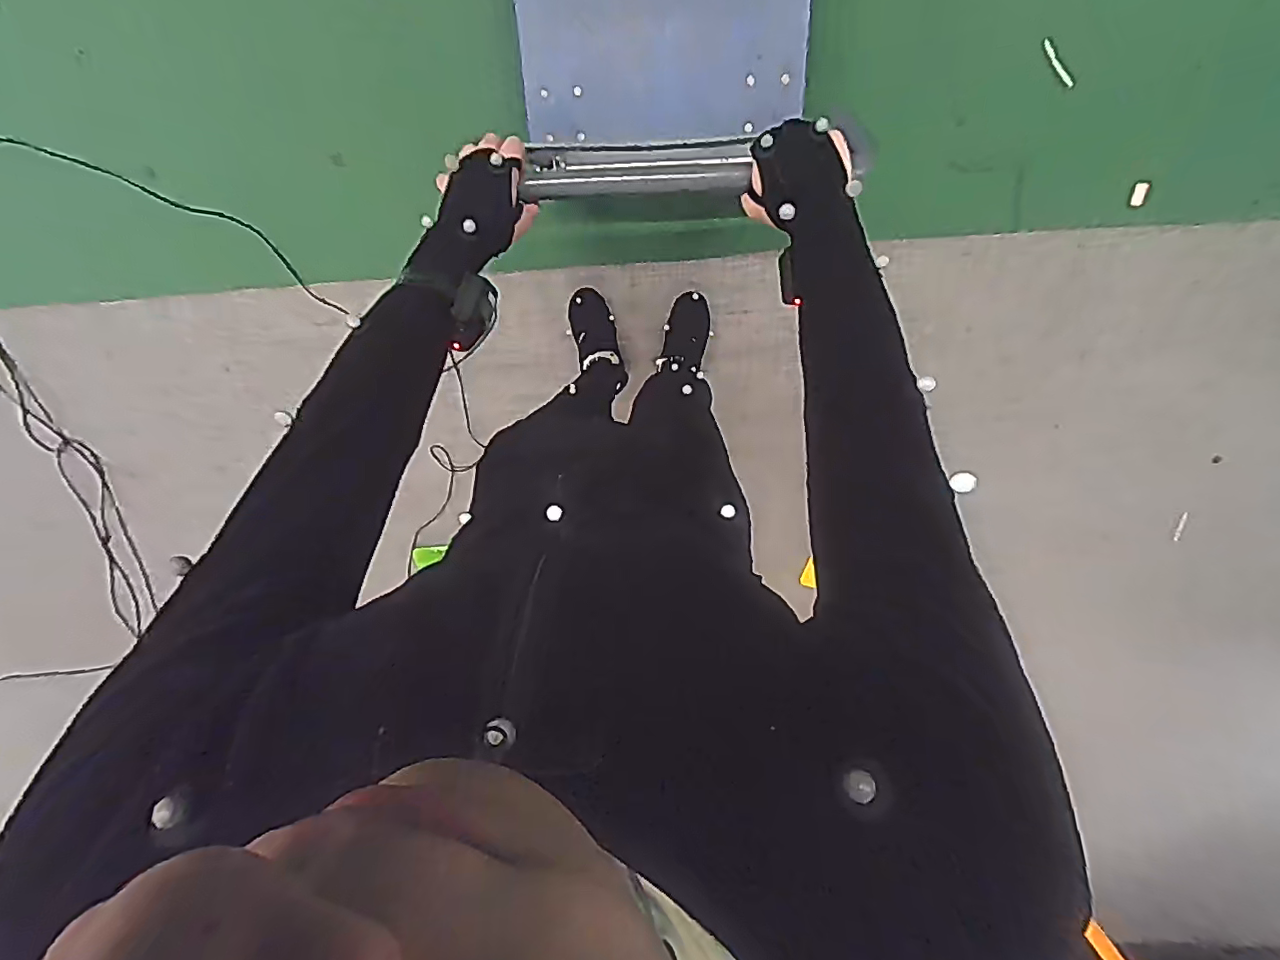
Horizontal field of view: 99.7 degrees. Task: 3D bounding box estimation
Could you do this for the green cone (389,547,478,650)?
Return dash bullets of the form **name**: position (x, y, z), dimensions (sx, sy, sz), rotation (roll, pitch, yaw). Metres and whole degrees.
- **green cone**: position (-0.688, 0.394, 1.718), dimensions (0.202, 0.368, 0.200), rotation (-5, 116, 7)
